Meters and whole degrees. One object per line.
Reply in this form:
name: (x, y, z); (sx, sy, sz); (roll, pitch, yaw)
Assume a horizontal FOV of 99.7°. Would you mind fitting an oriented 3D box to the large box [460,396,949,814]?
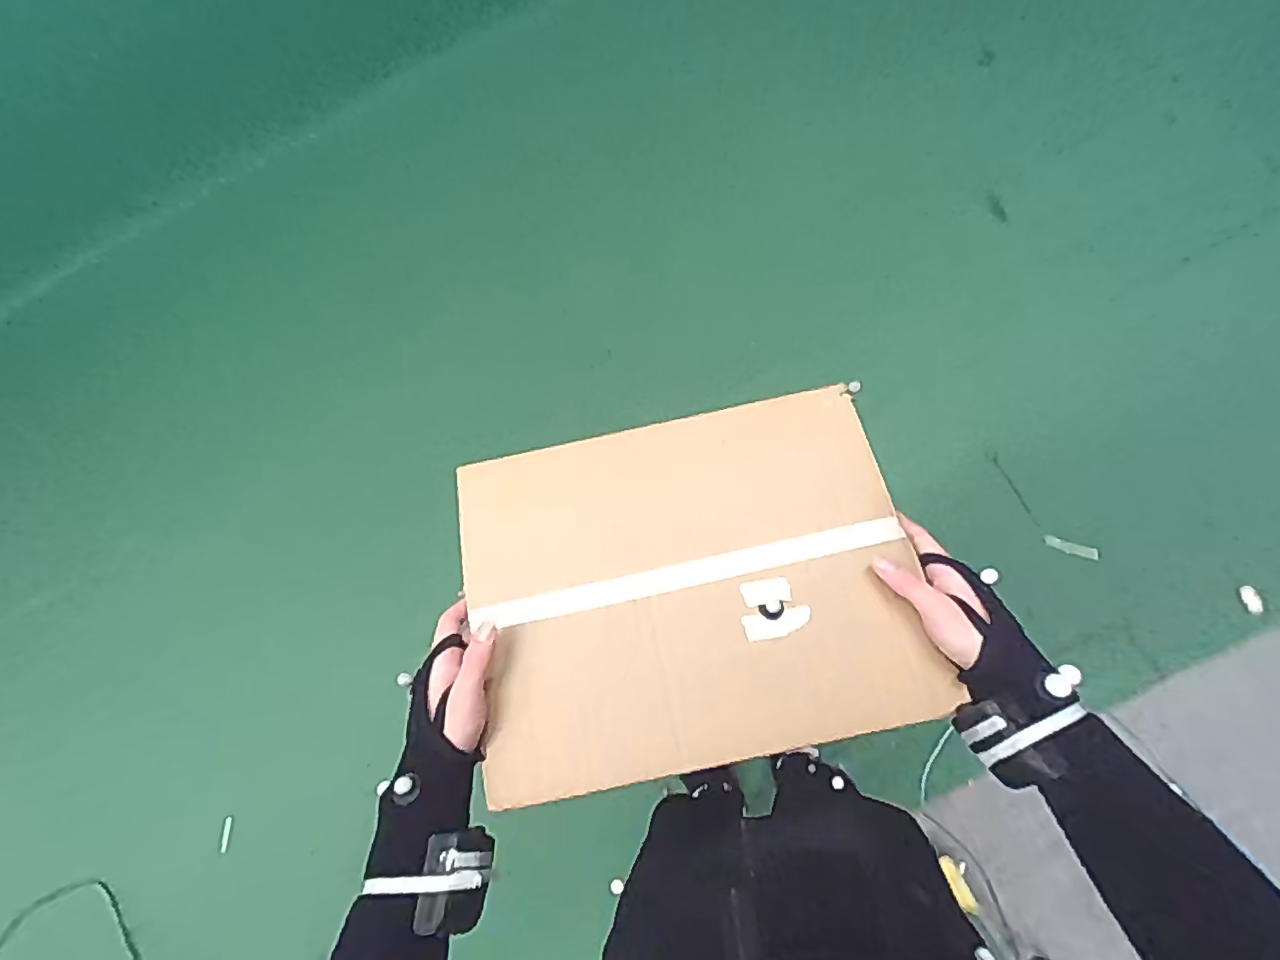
large box: (0.047, 0.150, 0.644); (0.408, 0.320, 0.320); (-13, 69, -1)
